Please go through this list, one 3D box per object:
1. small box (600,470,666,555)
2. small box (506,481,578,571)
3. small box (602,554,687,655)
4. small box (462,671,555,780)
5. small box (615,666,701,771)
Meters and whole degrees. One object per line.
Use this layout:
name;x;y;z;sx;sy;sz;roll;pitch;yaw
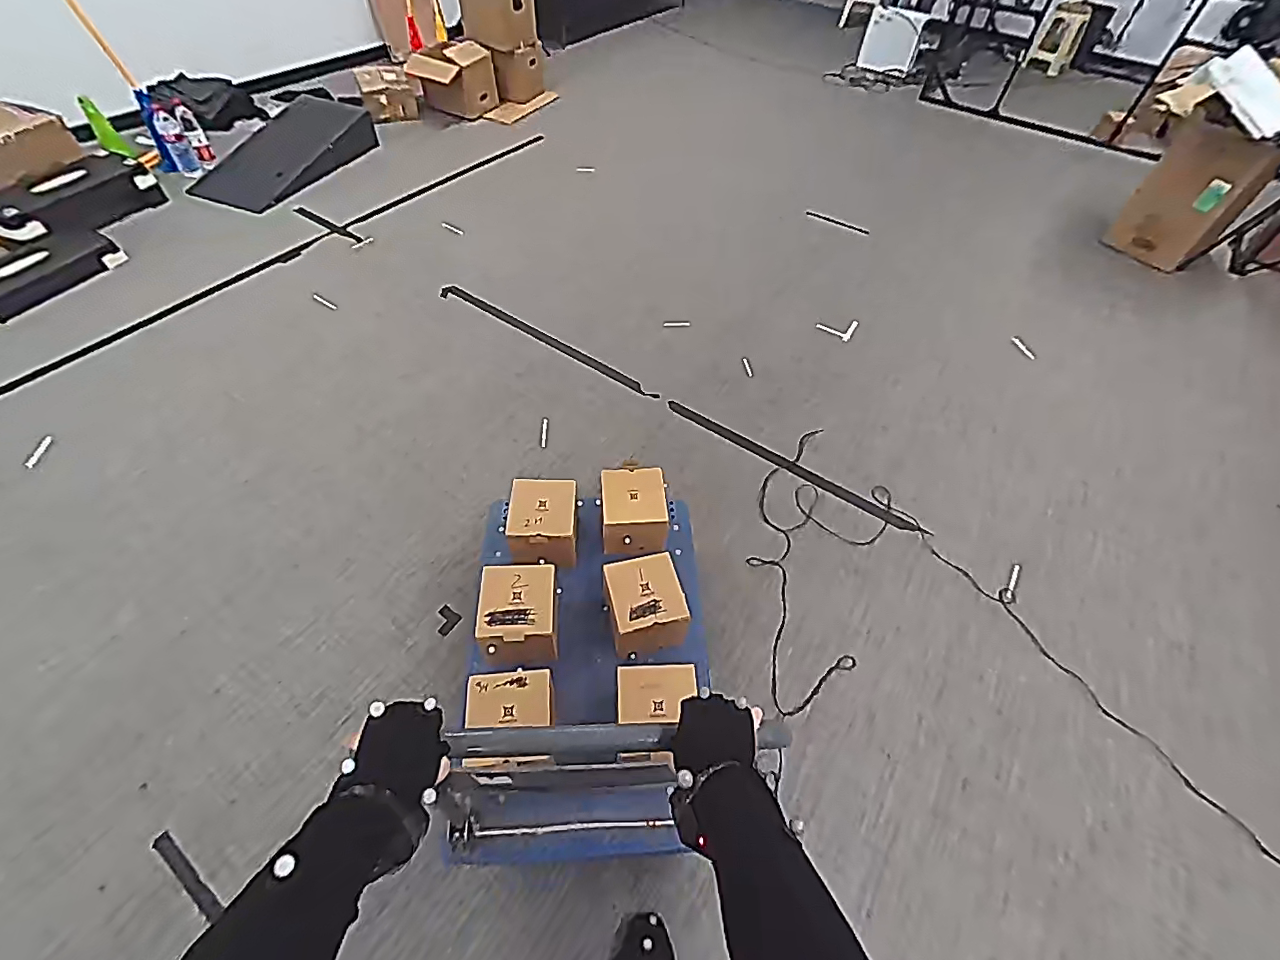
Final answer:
small box;-0.023;0.094;1.475;0.168;0.176;0.179;-2;52;-6
small box;-0.253;0.122;1.433;0.168;0.176;0.179;1;53;-3
small box;0.006;0.308;1.309;0.168;0.176;0.179;-9;53;-12
small box;-0.265;0.516;1.126;0.168;0.176;0.179;-2;53;-7
small box;0.032;0.512;1.153;0.168;0.176;0.179;1;51;-4
